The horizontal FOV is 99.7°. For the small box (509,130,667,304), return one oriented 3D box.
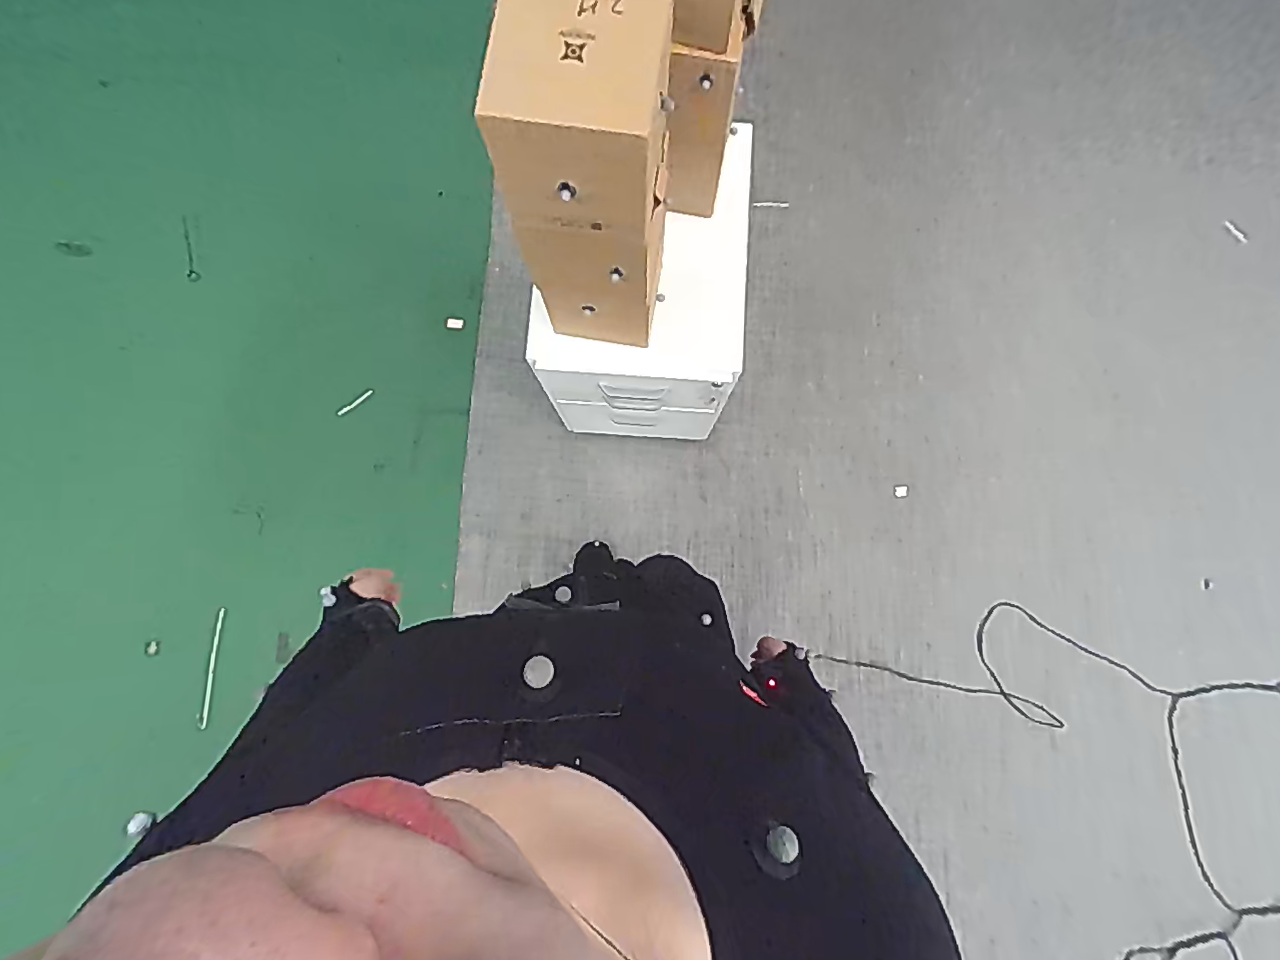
[{"bbox_3d":[-0.064,-0.366,0.757,0.179,0.176,0.168,9,80,2],"label":"small box"}]

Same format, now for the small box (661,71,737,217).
[{"bbox_3d":[0.061,-0.597,0.957,0.179,0.176,0.168,11,82,2],"label":"small box"}]

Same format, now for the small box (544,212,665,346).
[{"bbox_3d":[-0.061,-0.344,0.918,0.179,0.176,0.168,10,81,0],"label":"small box"}]

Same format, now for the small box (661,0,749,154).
[{"bbox_3d":[0.055,-0.618,0.796,0.179,0.176,0.168,10,82,1],"label":"small box"}]

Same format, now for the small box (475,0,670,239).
[{"bbox_3d":[-0.063,-0.396,0.595,0.168,0.176,0.179,9,80,0],"label":"small box"}]
